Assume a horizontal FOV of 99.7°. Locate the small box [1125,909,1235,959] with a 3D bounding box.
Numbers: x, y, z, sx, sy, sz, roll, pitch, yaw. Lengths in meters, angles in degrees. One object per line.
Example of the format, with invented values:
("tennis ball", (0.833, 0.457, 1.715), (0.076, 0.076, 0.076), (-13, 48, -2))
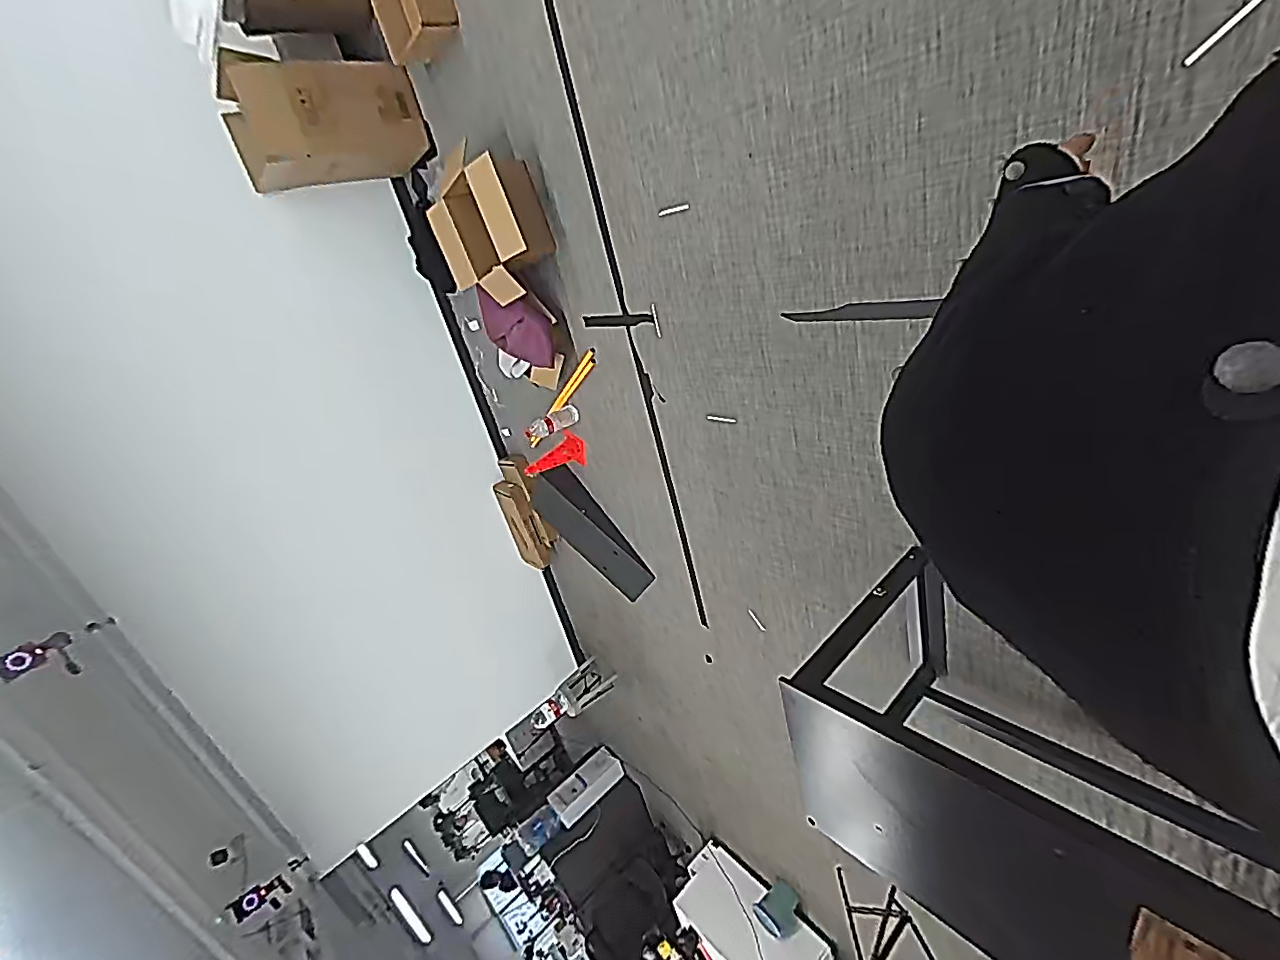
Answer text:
("small box", (0.859, 0.835, 0.842), (0.168, 0.176, 0.179), (15, 129, 50))
